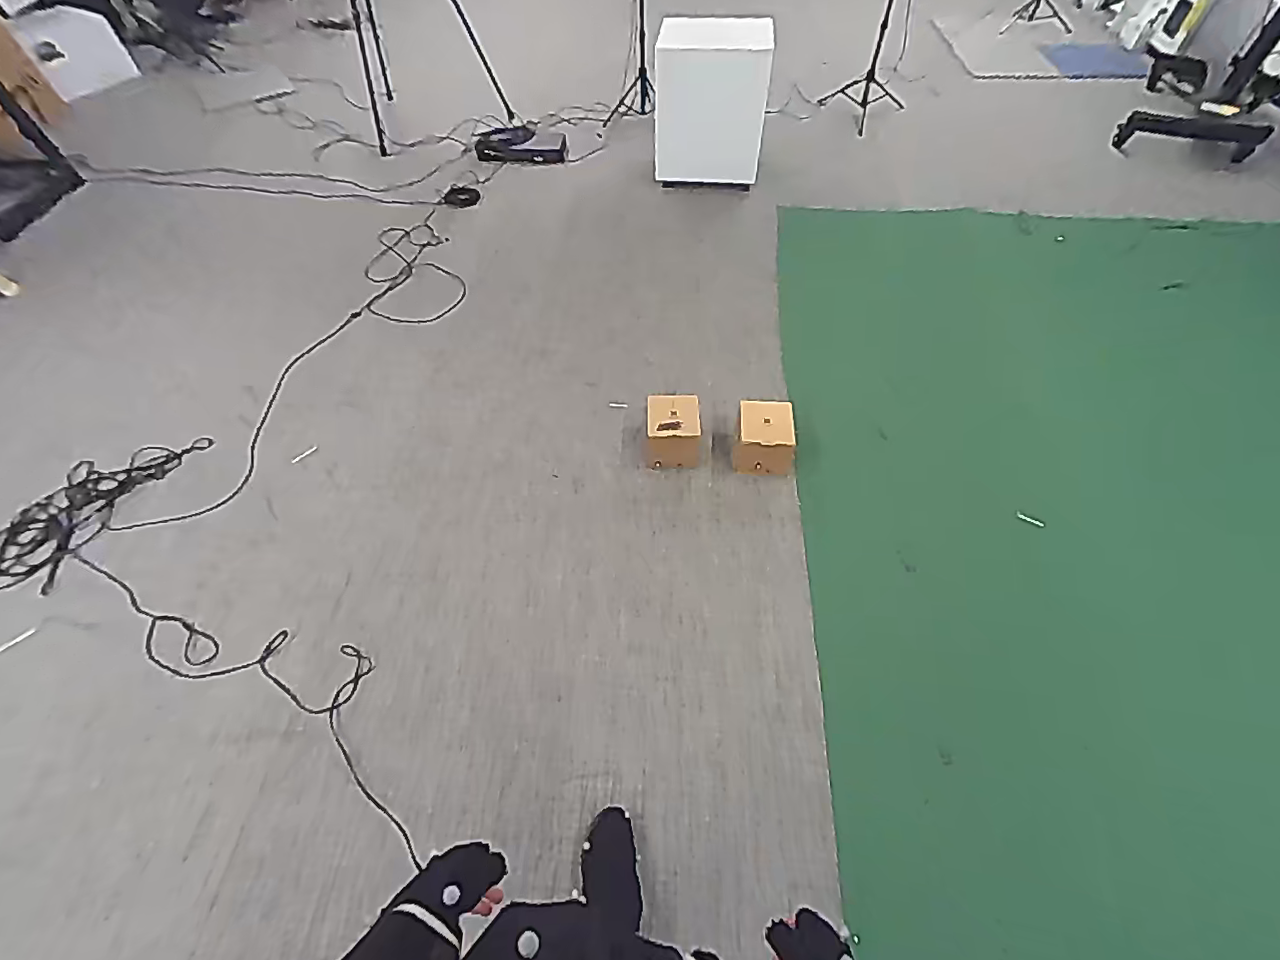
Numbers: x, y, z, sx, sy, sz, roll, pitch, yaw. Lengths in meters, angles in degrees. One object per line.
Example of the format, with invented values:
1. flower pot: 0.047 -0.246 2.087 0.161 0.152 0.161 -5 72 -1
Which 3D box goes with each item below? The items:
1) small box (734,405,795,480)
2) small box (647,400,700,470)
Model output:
1. small box: 0.398 -0.122 1.760 0.168 0.176 0.179 3 55 4
2. small box: 0.107 -0.145 1.779 0.168 0.176 0.179 0 54 1
